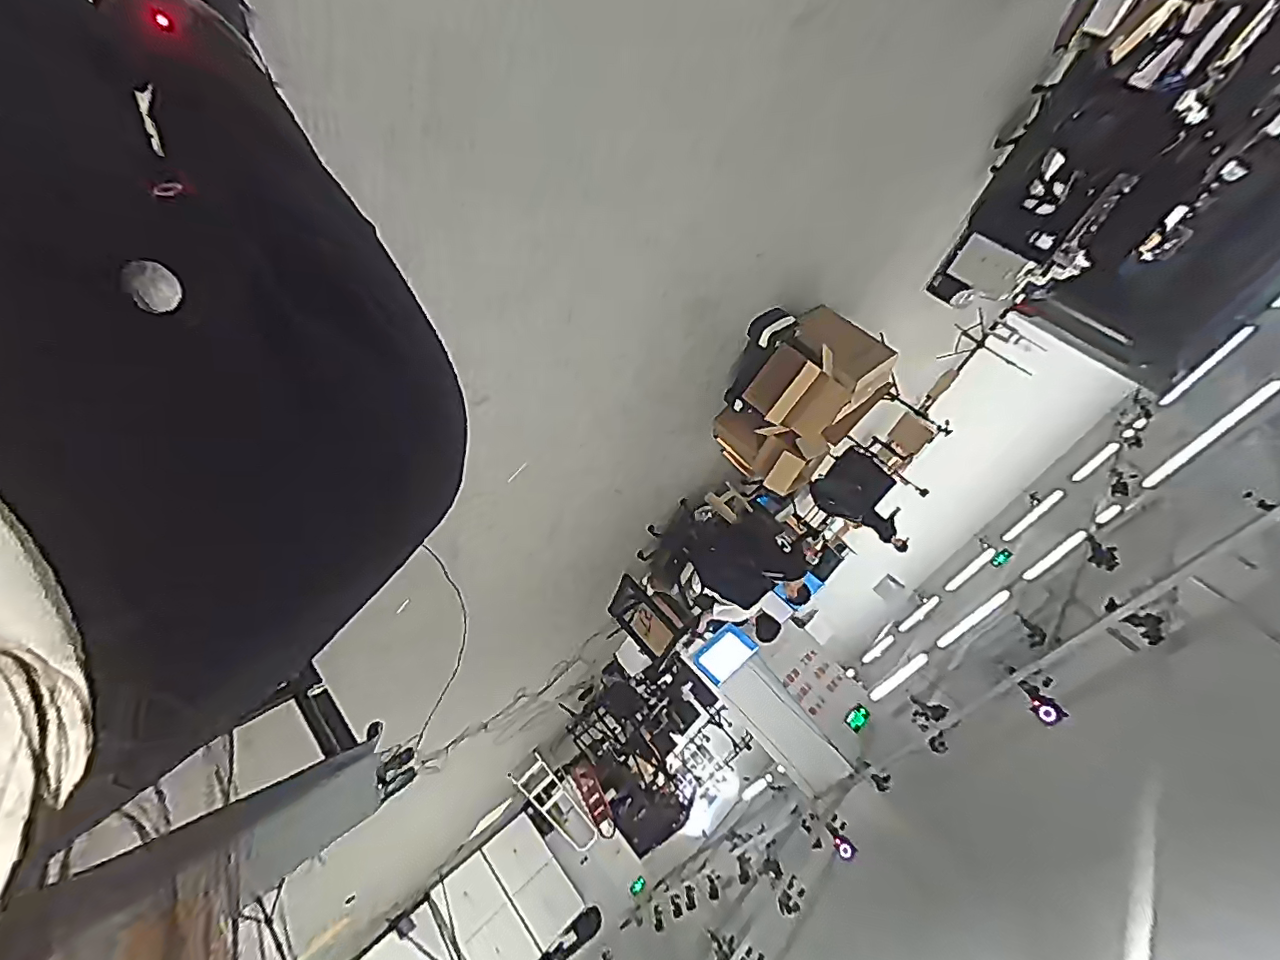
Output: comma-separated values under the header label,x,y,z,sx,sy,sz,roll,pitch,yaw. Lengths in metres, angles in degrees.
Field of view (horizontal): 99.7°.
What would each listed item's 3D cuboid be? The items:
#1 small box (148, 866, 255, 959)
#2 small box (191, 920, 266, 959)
label,x,y,z,sx,sy,sz,roll,pitch,yaw
small box,-1.187,1.202,1.469,0.179,0.176,0.168,-22,147,-41
small box,-1.079,1.304,1.400,0.179,0.176,0.168,-24,148,-43
